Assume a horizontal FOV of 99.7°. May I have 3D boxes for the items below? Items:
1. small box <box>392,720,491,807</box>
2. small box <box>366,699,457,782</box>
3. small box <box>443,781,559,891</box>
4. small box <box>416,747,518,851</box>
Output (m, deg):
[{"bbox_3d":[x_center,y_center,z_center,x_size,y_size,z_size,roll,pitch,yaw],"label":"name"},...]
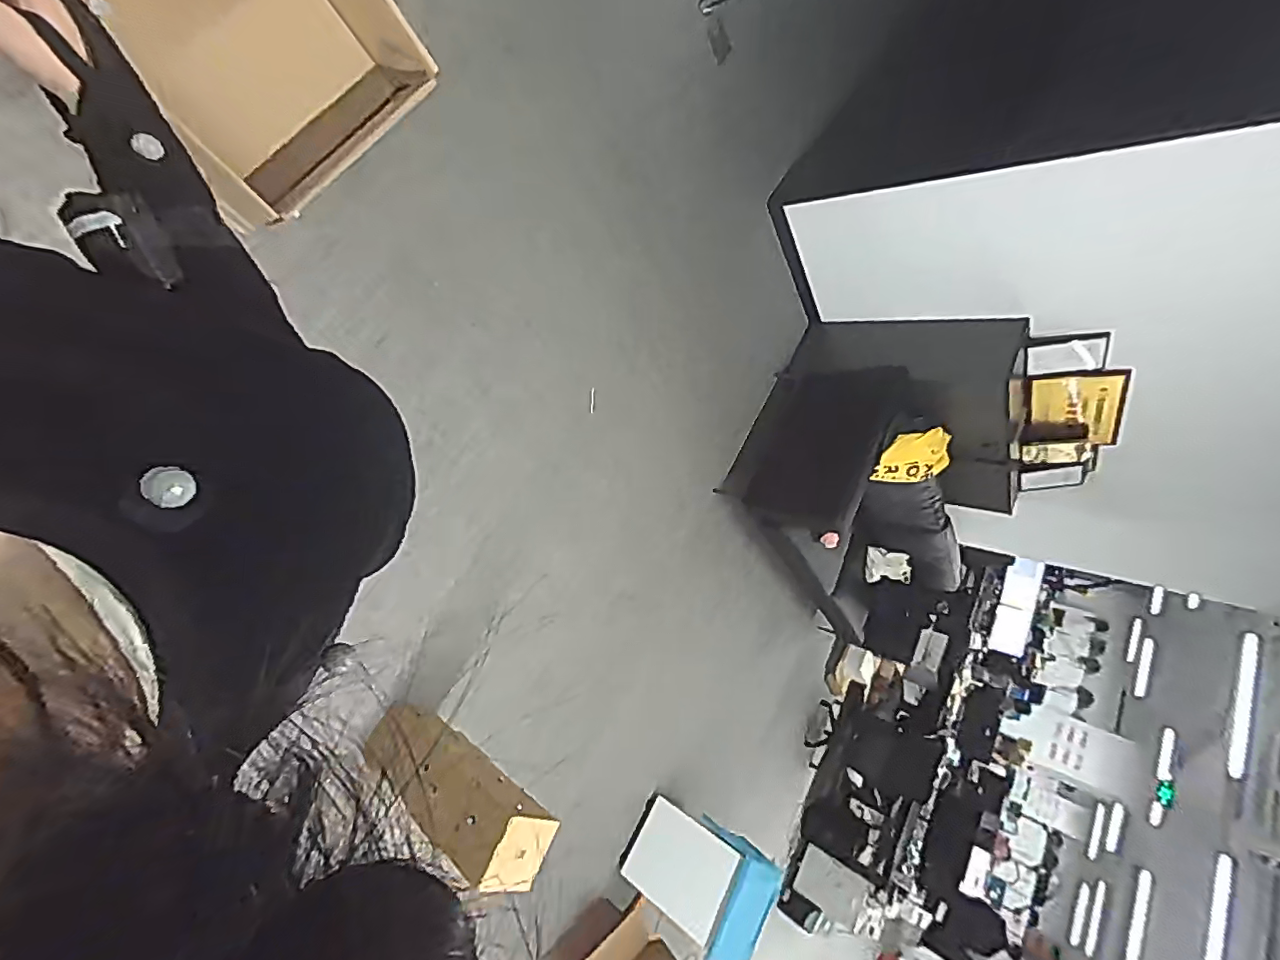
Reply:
[{"bbox_3d":[-0.571,0.820,1.547,0.168,0.176,0.179,47,65,-43],"label":"small box"},{"bbox_3d":[-0.698,0.800,1.651,0.168,0.176,0.179,47,65,-44],"label":"small box"},{"bbox_3d":[-0.339,0.864,1.322,0.179,0.176,0.168,44,66,-43],"label":"small box"},{"bbox_3d":[-0.461,0.843,1.429,0.168,0.176,0.179,45,67,-44],"label":"small box"}]
